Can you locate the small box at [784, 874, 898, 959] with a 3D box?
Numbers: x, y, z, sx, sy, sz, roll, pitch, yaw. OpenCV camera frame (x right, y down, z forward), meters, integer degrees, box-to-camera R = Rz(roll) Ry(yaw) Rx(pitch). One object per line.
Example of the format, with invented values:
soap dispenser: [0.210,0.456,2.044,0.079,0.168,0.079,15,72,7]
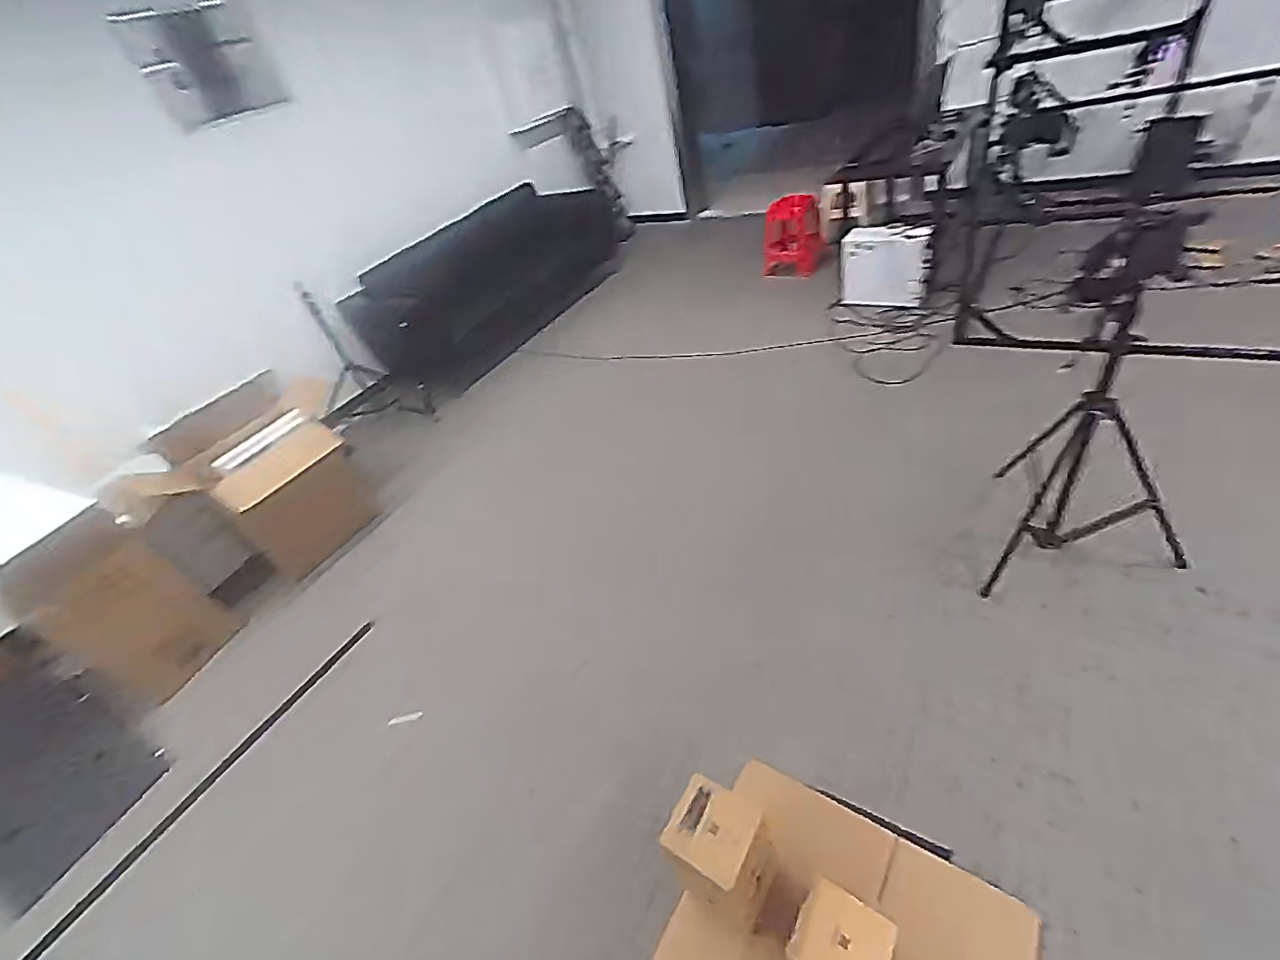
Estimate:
small box: [0.426,0.992,1.145,0.179,0.176,0.168,16,49,35]

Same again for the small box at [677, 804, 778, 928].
small box: [0.217,0.928,1.297,0.179,0.176,0.168,14,48,35]
